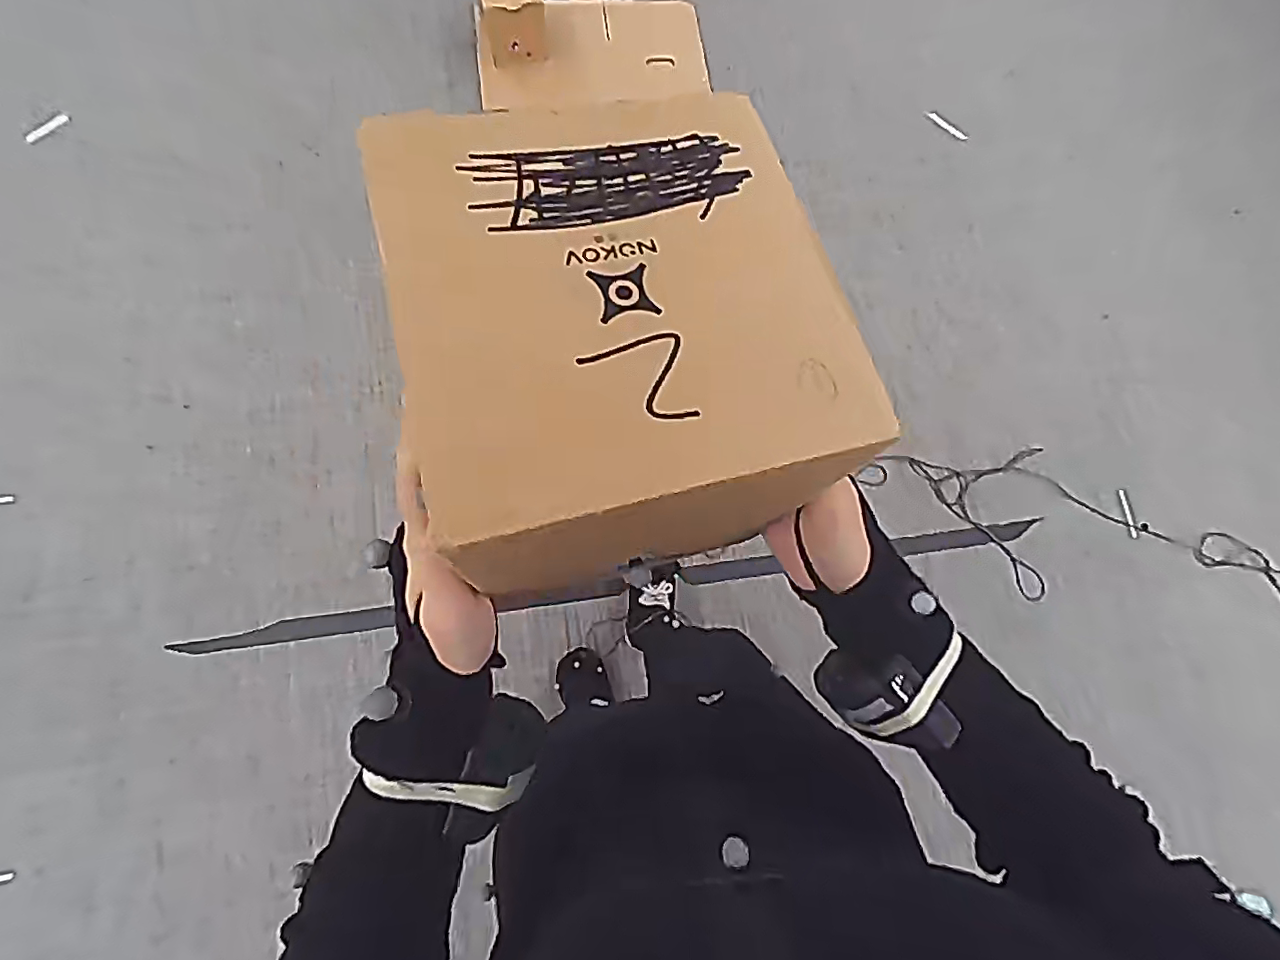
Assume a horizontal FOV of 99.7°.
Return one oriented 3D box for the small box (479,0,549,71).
[{"bbox_3d":[-0.369,-1.343,1.568,0.168,0.176,0.179,-17,80,-8],"label":"small box"}]
